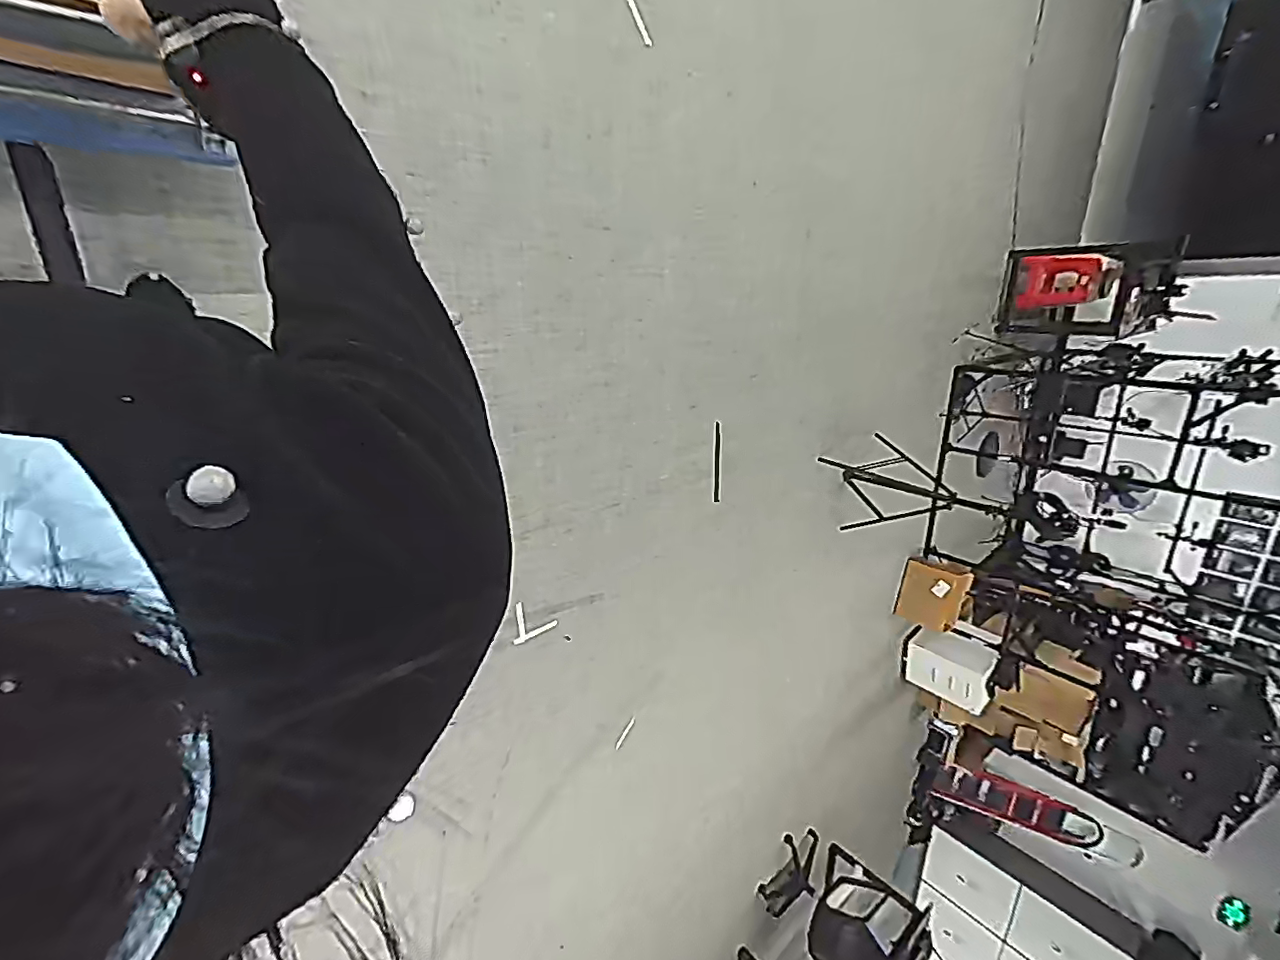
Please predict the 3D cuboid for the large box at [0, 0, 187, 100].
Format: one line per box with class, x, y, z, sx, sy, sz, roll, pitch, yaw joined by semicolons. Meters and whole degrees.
large box;-0.829;-0.705;0.629;0.408;0.320;0.320;-15;113;-40
